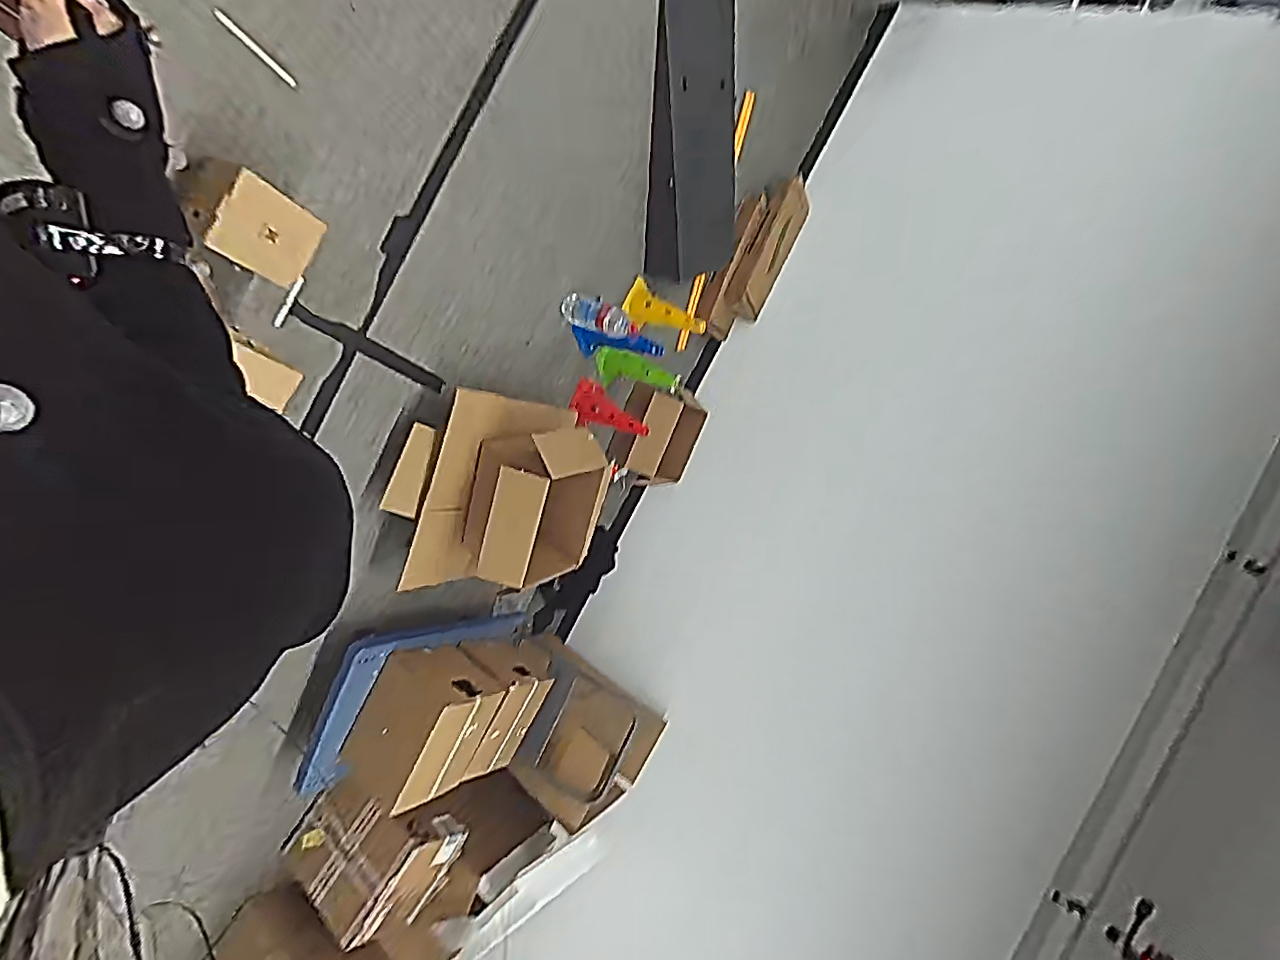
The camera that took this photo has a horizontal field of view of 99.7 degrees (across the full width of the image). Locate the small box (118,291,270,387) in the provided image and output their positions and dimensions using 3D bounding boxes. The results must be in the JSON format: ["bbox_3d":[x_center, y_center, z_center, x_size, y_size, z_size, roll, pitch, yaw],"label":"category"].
[{"bbox_3d":[-0.937,-0.262,1.132,0.179,0.176,0.168,-59,153,-5],"label":"small box"}]

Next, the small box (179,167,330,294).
[{"bbox_3d":[-0.804,-0.521,1.127,0.168,0.176,0.179,-62,155,0],"label":"small box"}]

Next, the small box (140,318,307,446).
[{"bbox_3d":[-0.810,-0.193,1.052,0.168,0.176,0.179,-60,154,-4],"label":"small box"}]
